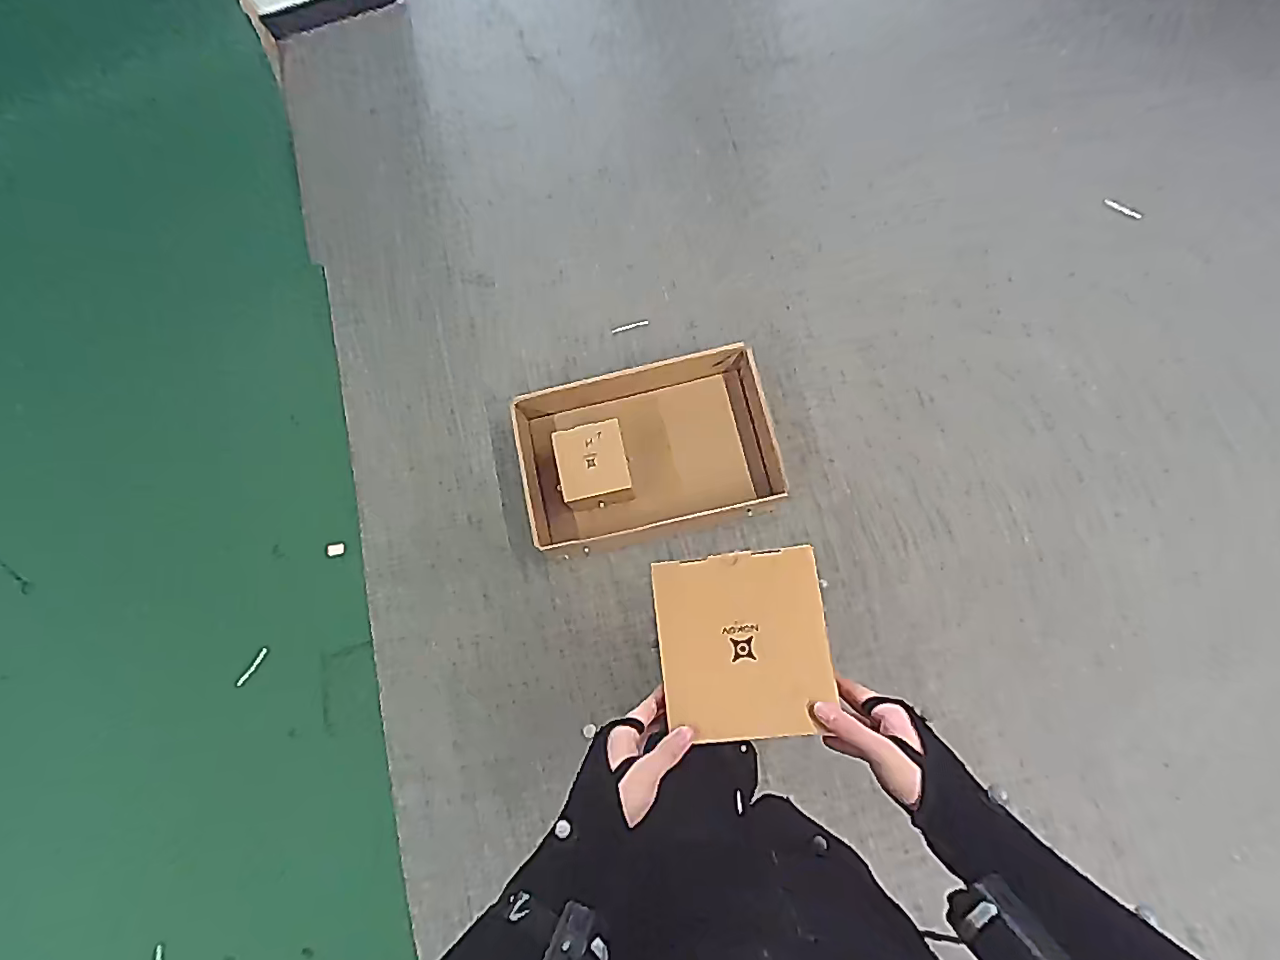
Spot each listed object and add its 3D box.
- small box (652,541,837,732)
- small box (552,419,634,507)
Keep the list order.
[{"bbox_3d":[0.112,0.171,0.620,0.168,0.176,0.179,-8,77,6],"label":"small box"},{"bbox_3d":[-0.113,-0.034,1.363,0.168,0.176,0.179,-12,78,1],"label":"small box"}]
